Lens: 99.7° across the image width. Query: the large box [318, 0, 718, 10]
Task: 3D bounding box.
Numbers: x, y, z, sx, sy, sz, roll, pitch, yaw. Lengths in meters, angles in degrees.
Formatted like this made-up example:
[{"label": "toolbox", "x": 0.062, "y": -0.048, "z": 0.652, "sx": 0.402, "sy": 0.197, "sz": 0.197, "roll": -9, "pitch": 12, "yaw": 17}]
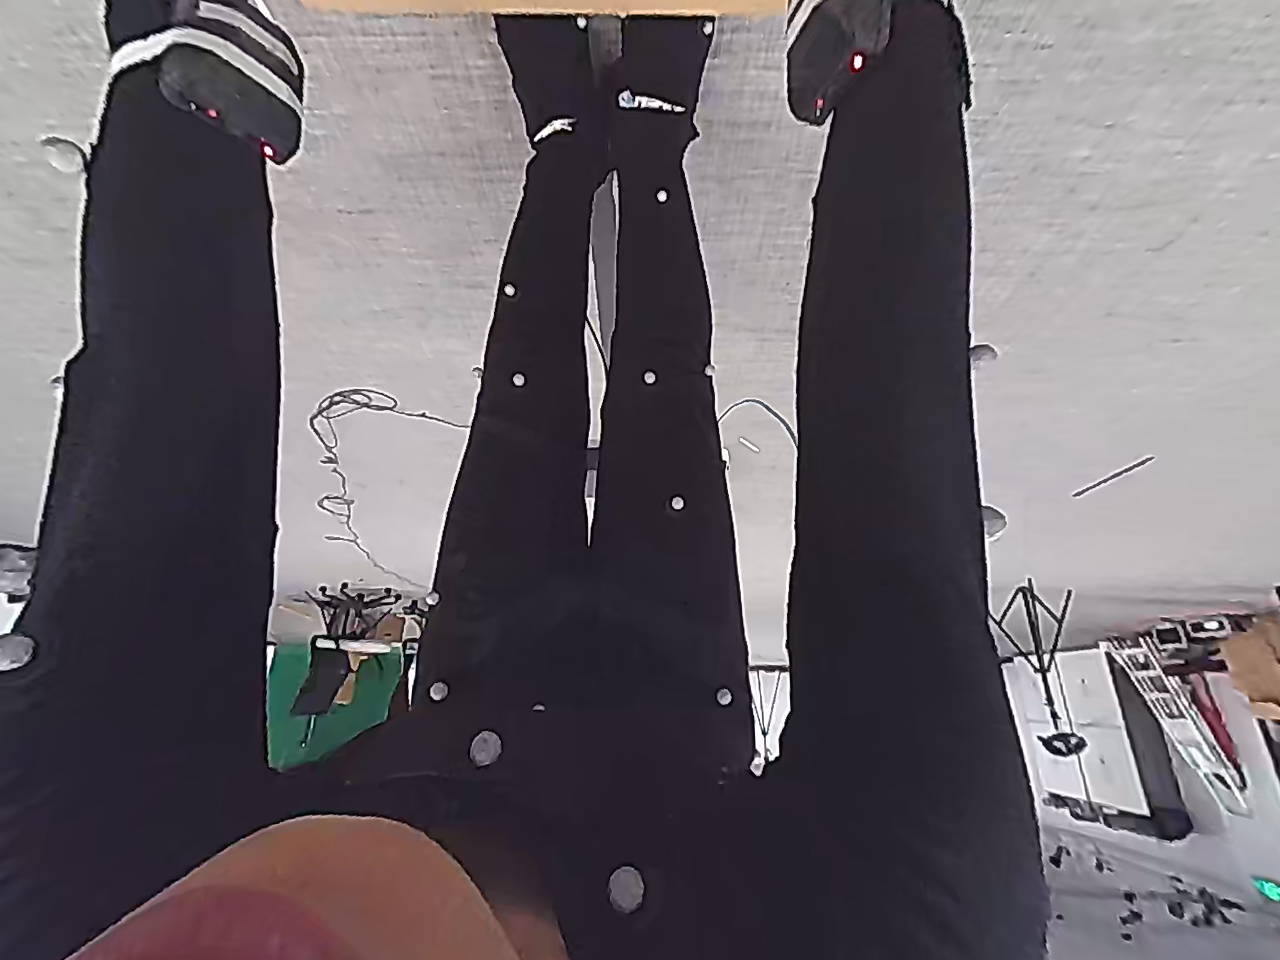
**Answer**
[{"label": "large box", "x": -0.057, "y": -0.565, "z": 0.336, "sx": 0.408, "sy": 0.320, "sz": 0.320, "roll": 1, "pitch": 158, "yaw": 1}]
